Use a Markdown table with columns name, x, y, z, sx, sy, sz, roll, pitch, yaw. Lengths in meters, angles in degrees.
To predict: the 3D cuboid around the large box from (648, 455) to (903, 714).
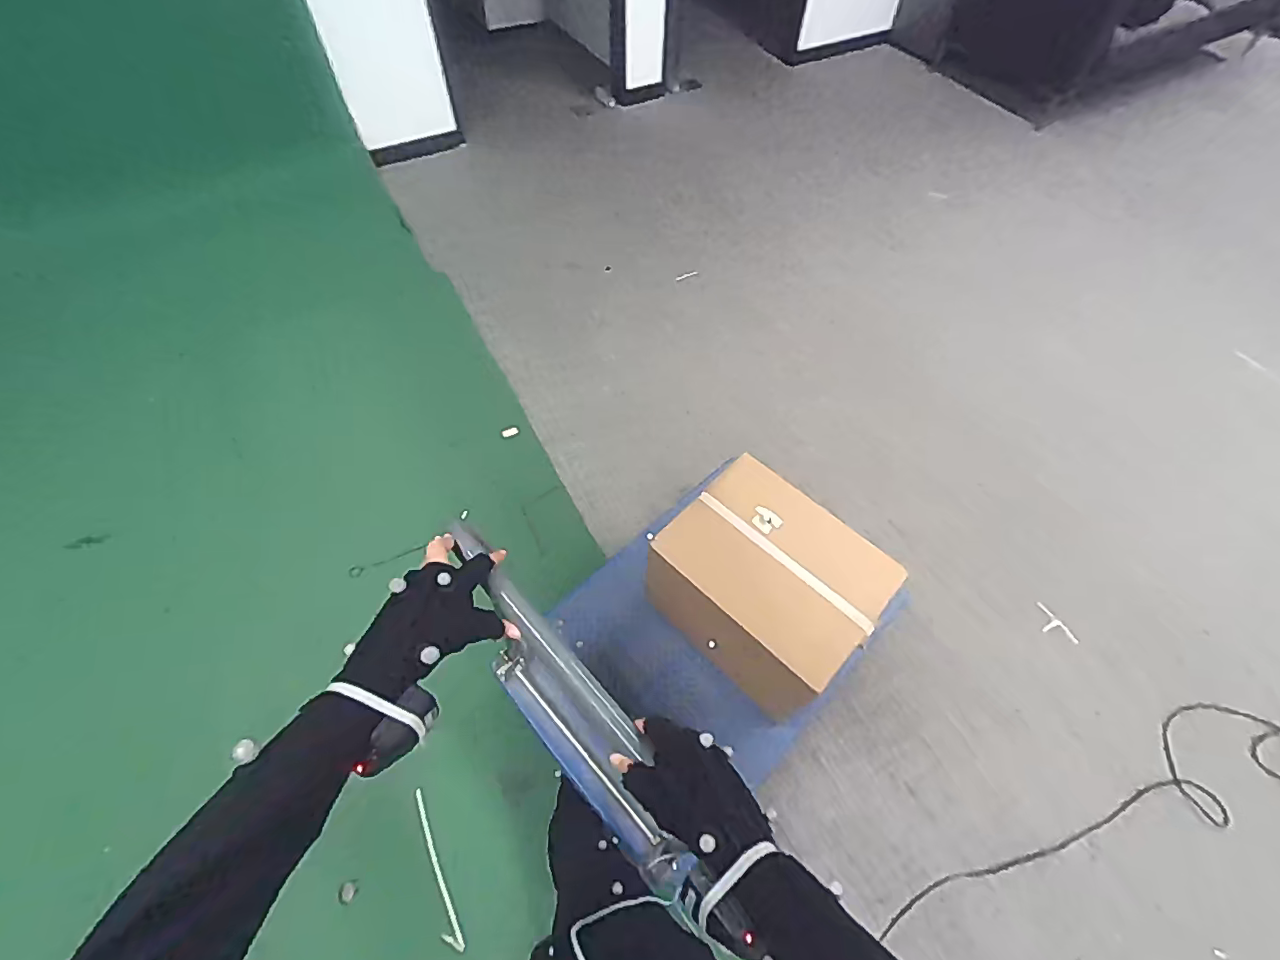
| name | x | y | z | sx | sy | sz | roll | pitch | yaw |
| --- | --- | --- | --- | --- | --- | --- | --- | --- | --- |
| large box | 0.264 | 0.229 | 1.179 | 0.408 | 0.320 | 0.320 | 39 | 64 | 22 |
